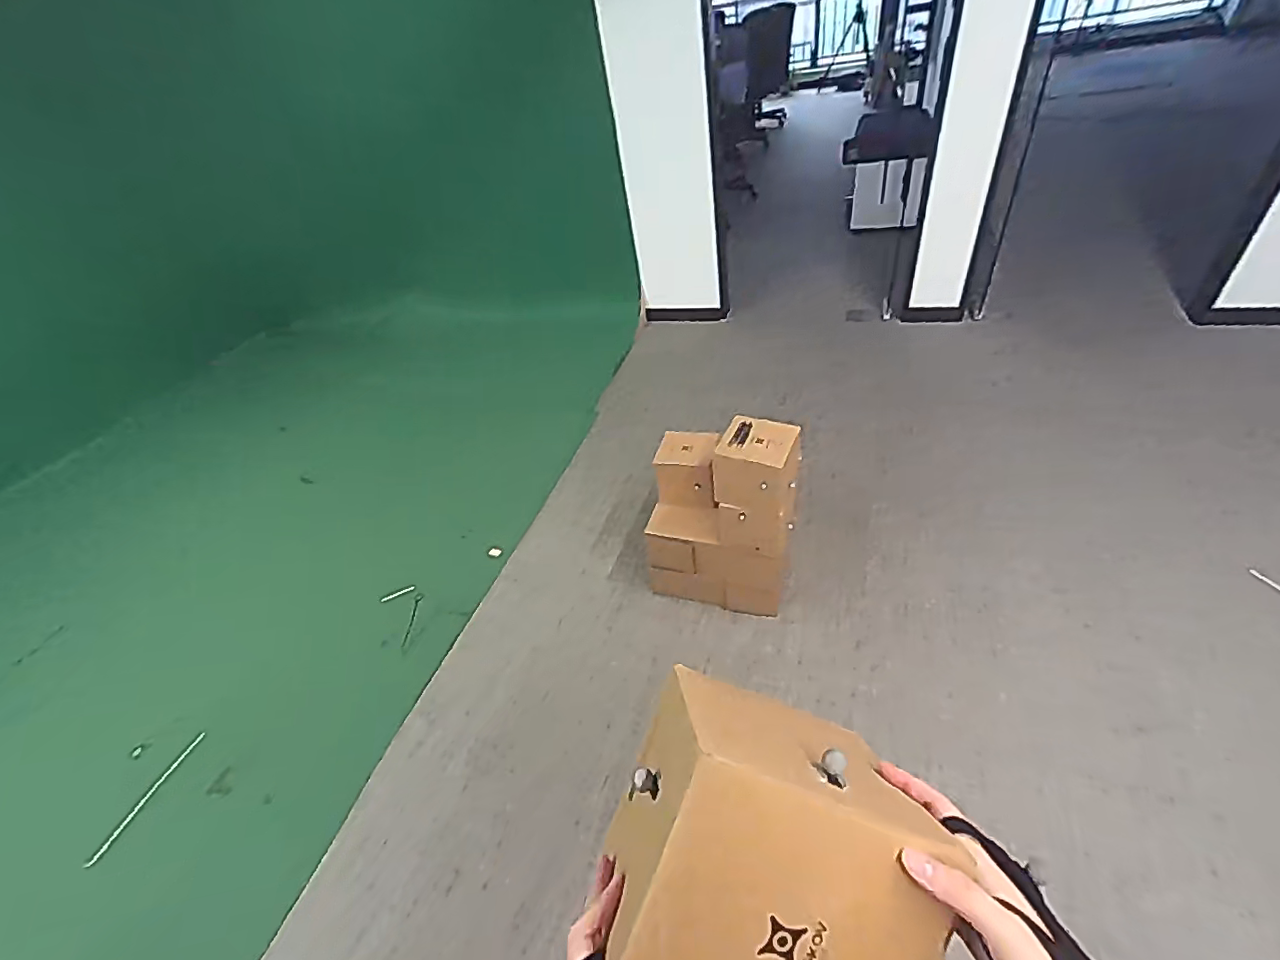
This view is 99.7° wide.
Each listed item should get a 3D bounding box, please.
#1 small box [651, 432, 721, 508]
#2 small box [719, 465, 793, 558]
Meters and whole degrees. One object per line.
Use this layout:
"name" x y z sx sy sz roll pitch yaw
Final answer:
"small box" 0.151 -0.030 1.678 0.179 0.176 0.168 5 42 19
"small box" 0.322 0.087 1.502 0.168 0.176 0.179 10 45 22
